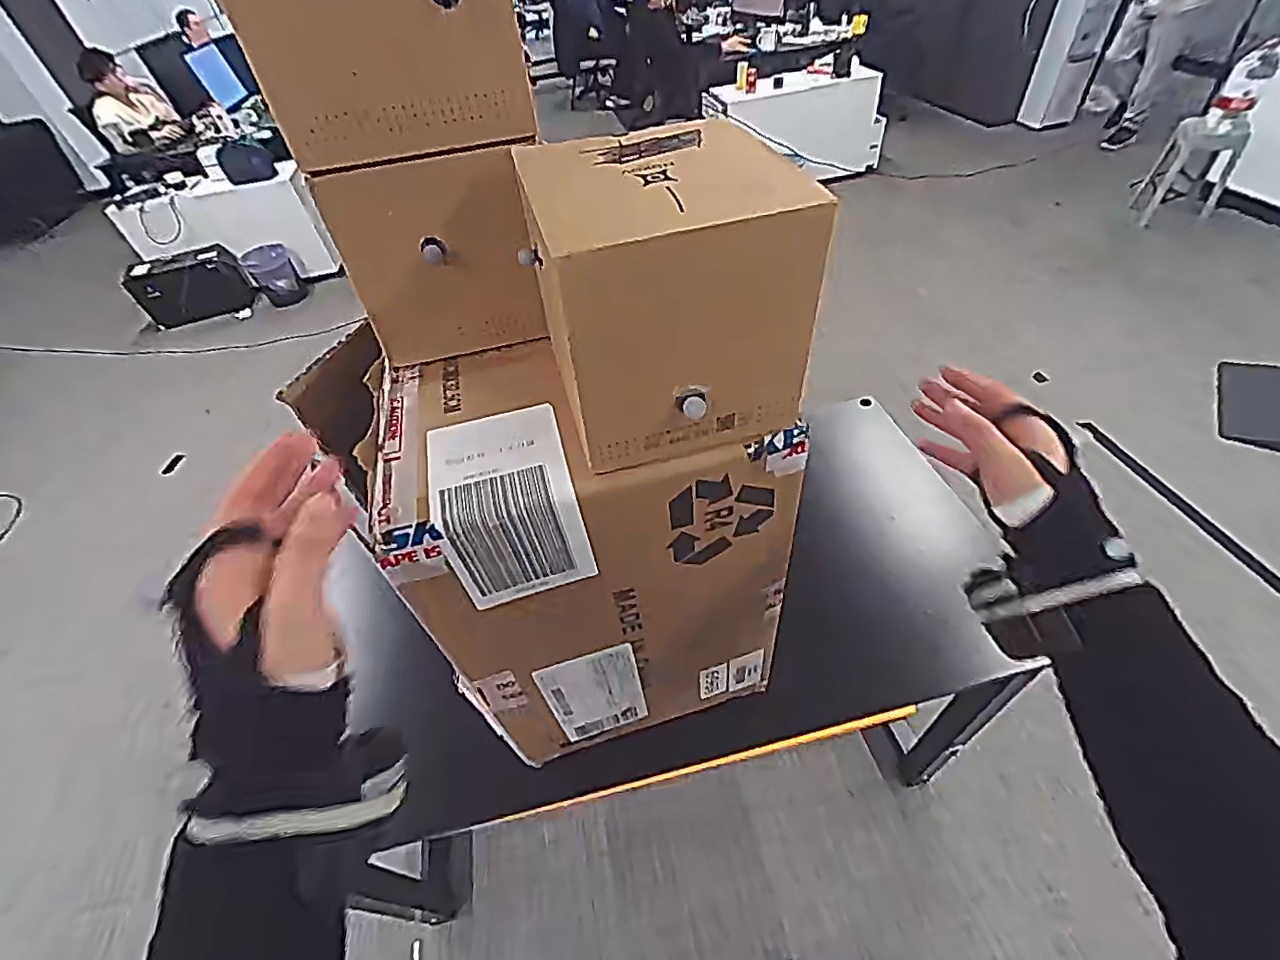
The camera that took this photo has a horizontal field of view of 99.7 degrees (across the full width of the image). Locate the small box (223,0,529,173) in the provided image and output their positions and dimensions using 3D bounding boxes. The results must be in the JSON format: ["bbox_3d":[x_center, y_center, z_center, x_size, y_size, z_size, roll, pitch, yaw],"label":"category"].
[{"bbox_3d":[-0.188,-0.349,0.397,0.179,0.176,0.168,-17,44,-9],"label":"small box"}]

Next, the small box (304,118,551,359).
[{"bbox_3d":[-0.176,-0.236,0.515,0.179,0.176,0.168,-15,45,-8],"label":"small box"}]

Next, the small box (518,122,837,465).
[{"bbox_3d":[0.015,-0.139,0.403,0.168,0.176,0.179,-14,48,-8],"label":"small box"}]
